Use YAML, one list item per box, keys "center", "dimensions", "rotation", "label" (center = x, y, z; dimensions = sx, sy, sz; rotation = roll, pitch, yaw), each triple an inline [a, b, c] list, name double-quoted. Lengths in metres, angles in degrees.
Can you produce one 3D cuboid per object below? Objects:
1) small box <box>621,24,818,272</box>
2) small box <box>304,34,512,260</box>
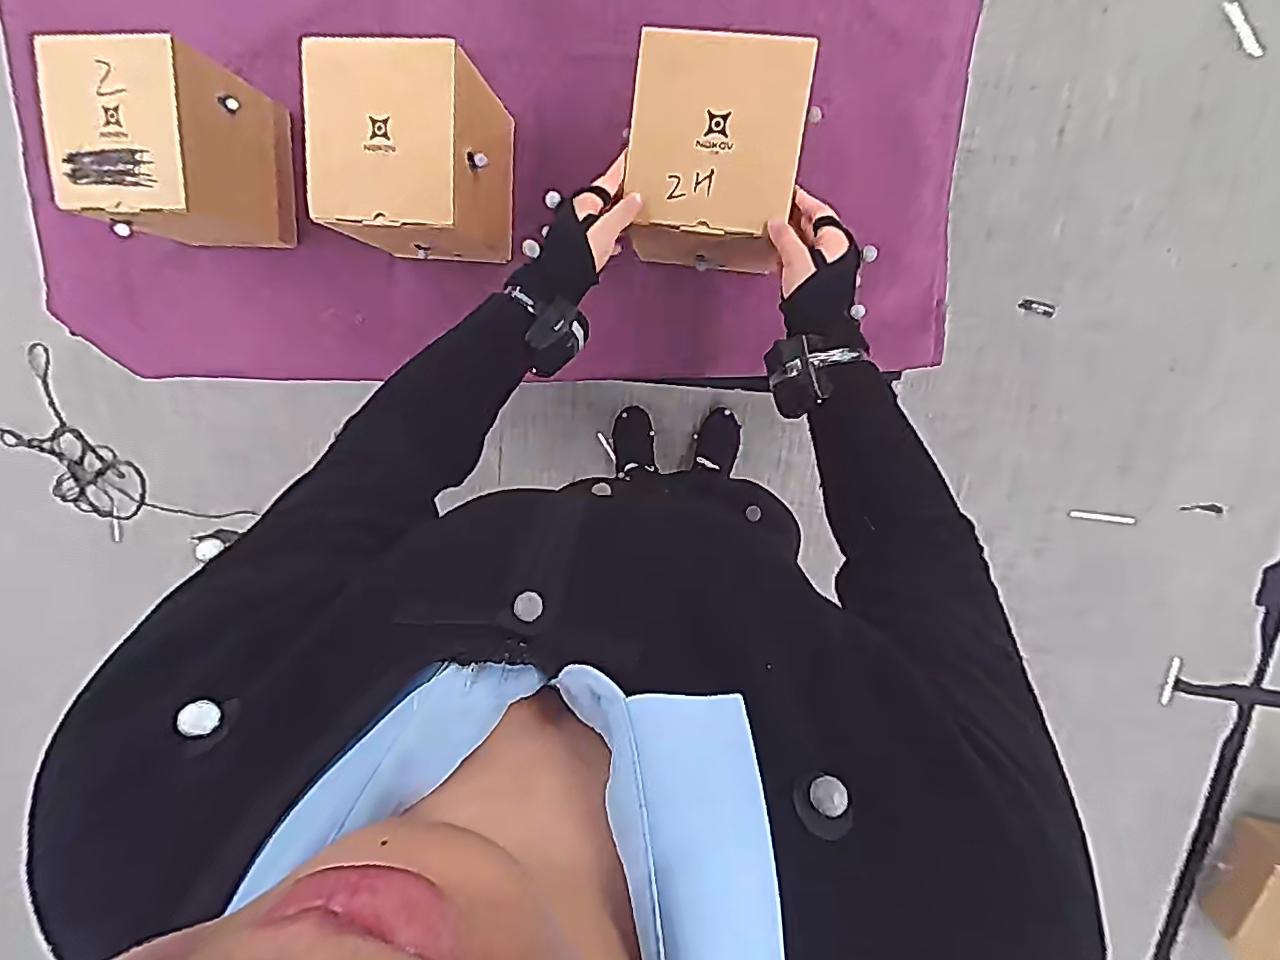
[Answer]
- center: [0.081, -0.344, 0.593]
  dimensions: [0.168, 0.176, 0.179]
  rotation: [9, 101, 6]
  label: "small box"
- center: [-0.257, -0.372, 0.632]
  dimensions: [0.168, 0.176, 0.179]
  rotation: [5, 101, 6]
  label: "small box"
